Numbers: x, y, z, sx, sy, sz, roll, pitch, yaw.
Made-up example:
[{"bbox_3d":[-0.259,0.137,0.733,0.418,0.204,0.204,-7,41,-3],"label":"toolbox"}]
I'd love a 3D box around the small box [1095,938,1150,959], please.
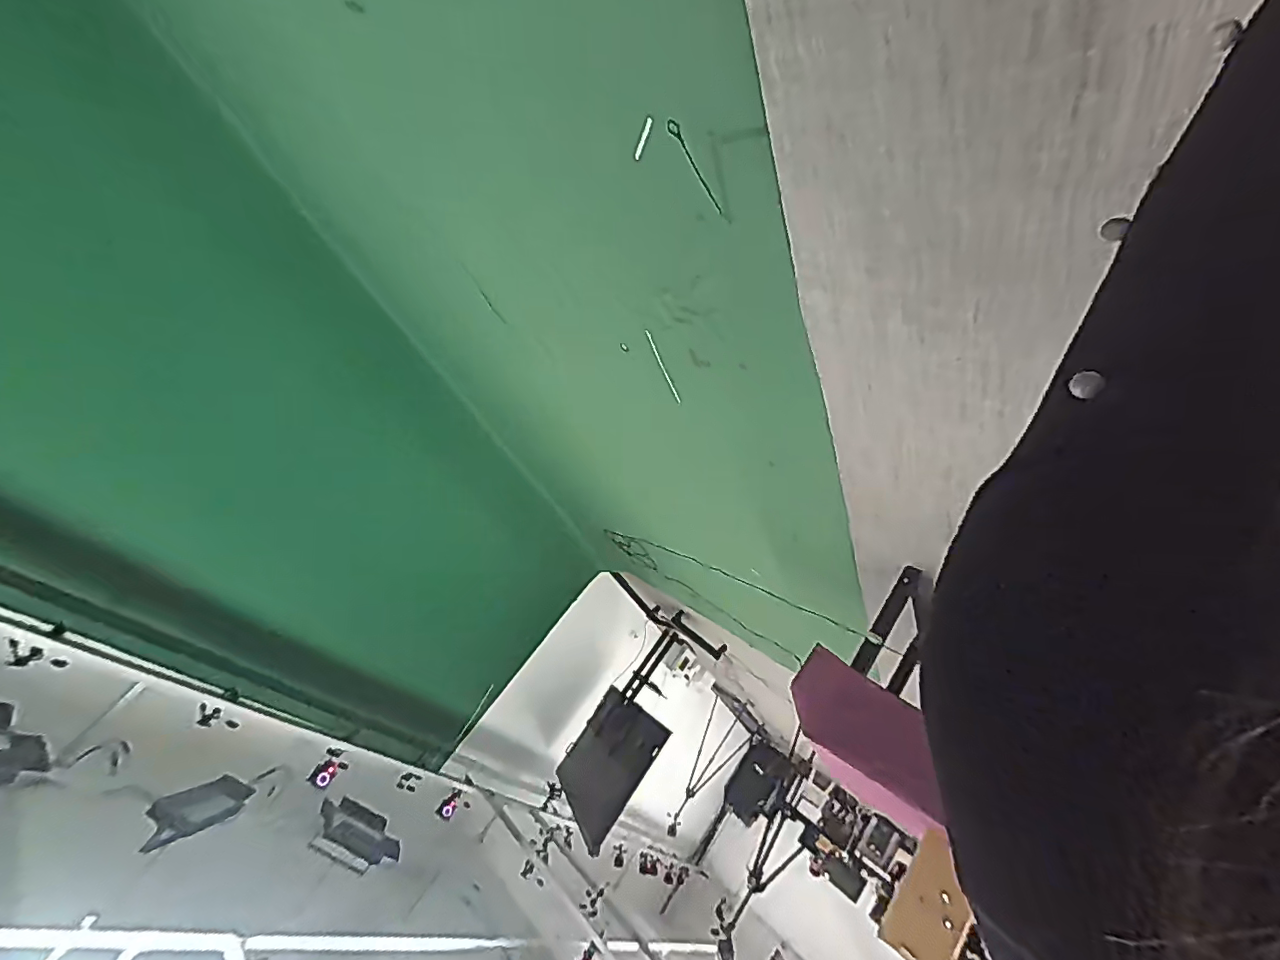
[{"bbox_3d":[1.164,1.215,1.258,0.168,0.176,0.179,22,155,42],"label":"small box"}]

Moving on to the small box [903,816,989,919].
[{"bbox_3d":[0.878,1.104,1.545,0.168,0.176,0.179,20,155,42],"label":"small box"}]

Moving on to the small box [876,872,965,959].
[{"bbox_3d":[0.779,1.226,1.496,0.168,0.176,0.179,22,156,43],"label":"small box"}]
